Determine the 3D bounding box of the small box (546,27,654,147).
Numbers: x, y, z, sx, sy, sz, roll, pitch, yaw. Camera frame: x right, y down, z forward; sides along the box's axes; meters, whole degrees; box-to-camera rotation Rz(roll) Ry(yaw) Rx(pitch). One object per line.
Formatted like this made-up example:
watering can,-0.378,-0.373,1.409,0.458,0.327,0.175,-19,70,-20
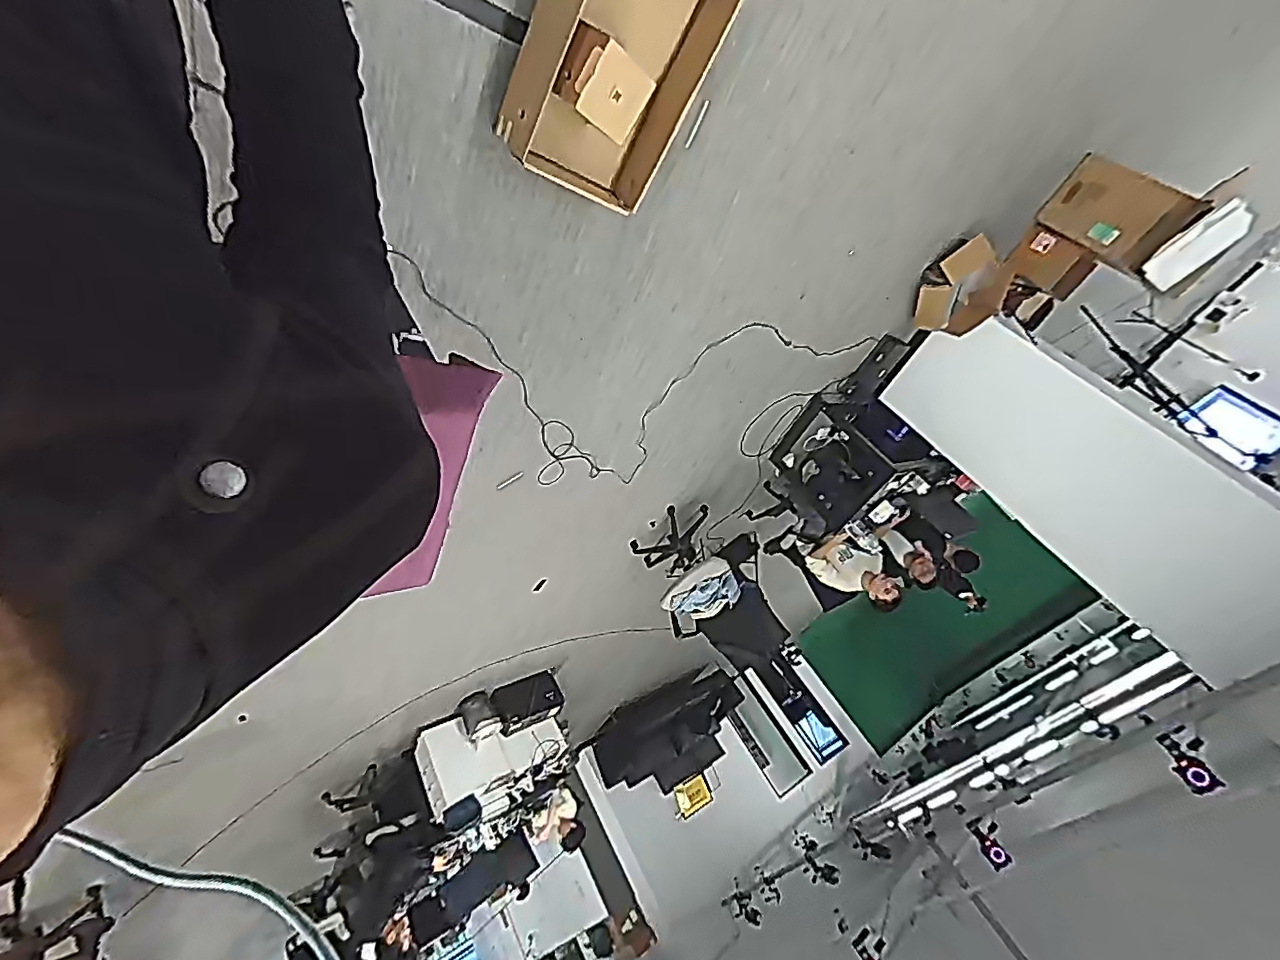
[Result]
small box,-0.106,-0.997,1.368,0.179,0.176,0.168,8,128,-51
